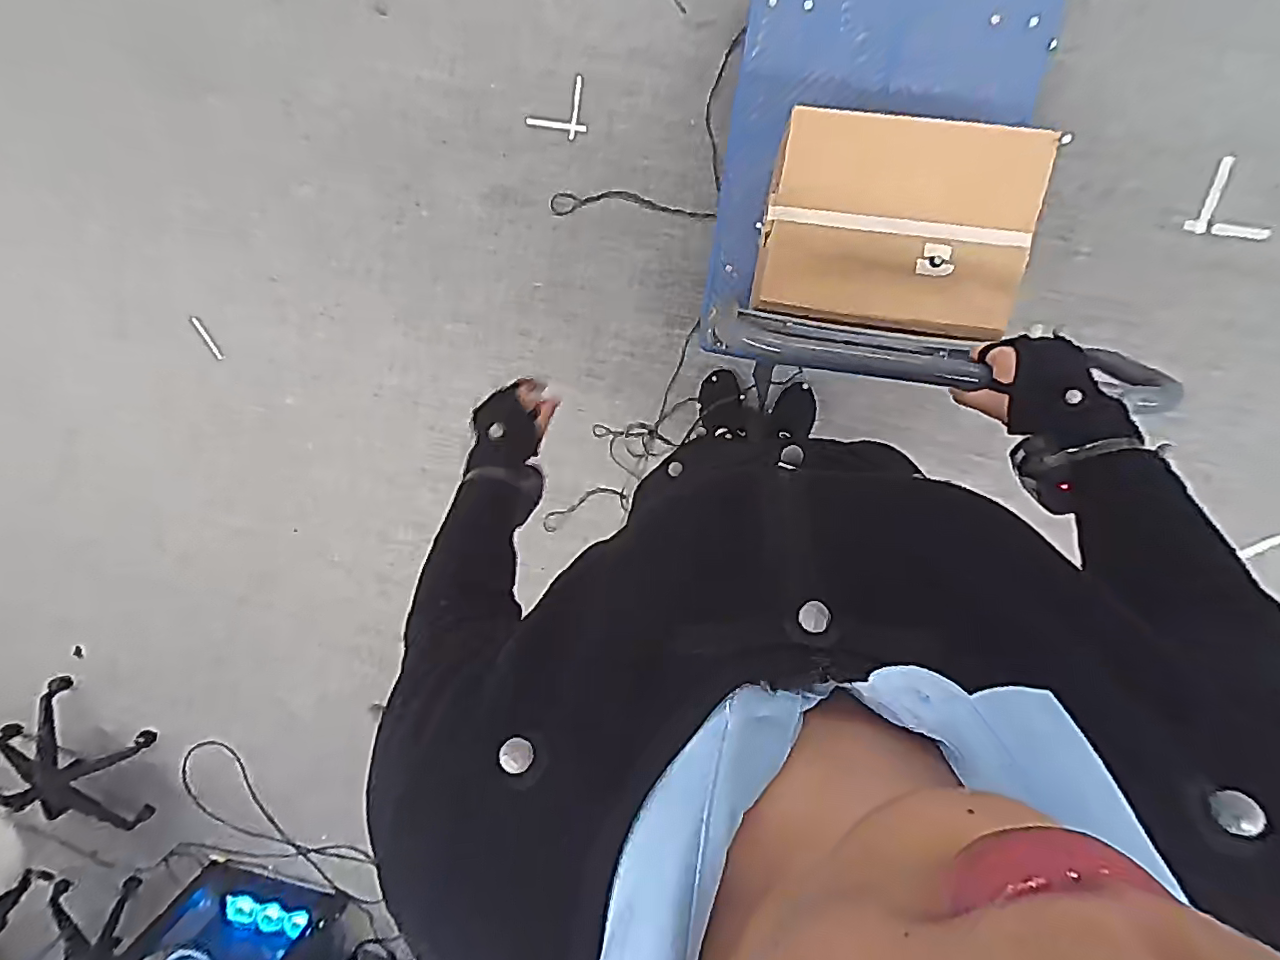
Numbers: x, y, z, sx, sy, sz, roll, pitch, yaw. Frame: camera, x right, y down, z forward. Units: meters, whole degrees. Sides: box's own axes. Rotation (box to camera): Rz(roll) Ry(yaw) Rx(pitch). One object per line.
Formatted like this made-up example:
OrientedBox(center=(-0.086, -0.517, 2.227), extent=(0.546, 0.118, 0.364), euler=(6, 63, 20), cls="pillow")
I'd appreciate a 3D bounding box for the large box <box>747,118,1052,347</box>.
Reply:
OrientedBox(center=(0.432, -0.432, 1.018), extent=(0.408, 0.320, 0.320), euler=(9, 105, 5), cls="large box")
